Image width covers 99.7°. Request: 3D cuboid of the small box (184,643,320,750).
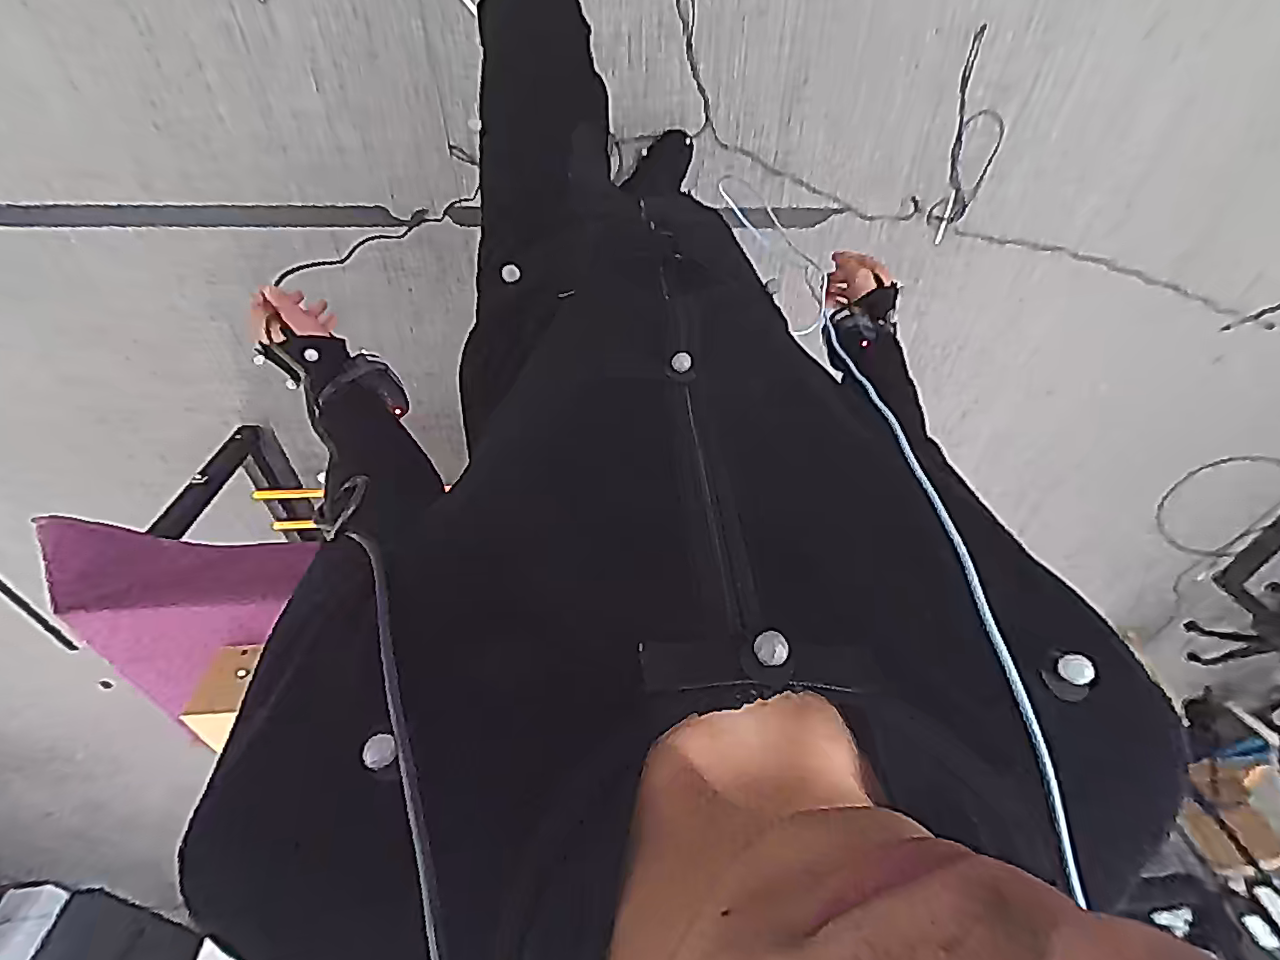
[{"bbox_3d":[-0.869,0.487,1.232,0.168,0.176,0.179,-2,130,-3],"label":"small box"}]
